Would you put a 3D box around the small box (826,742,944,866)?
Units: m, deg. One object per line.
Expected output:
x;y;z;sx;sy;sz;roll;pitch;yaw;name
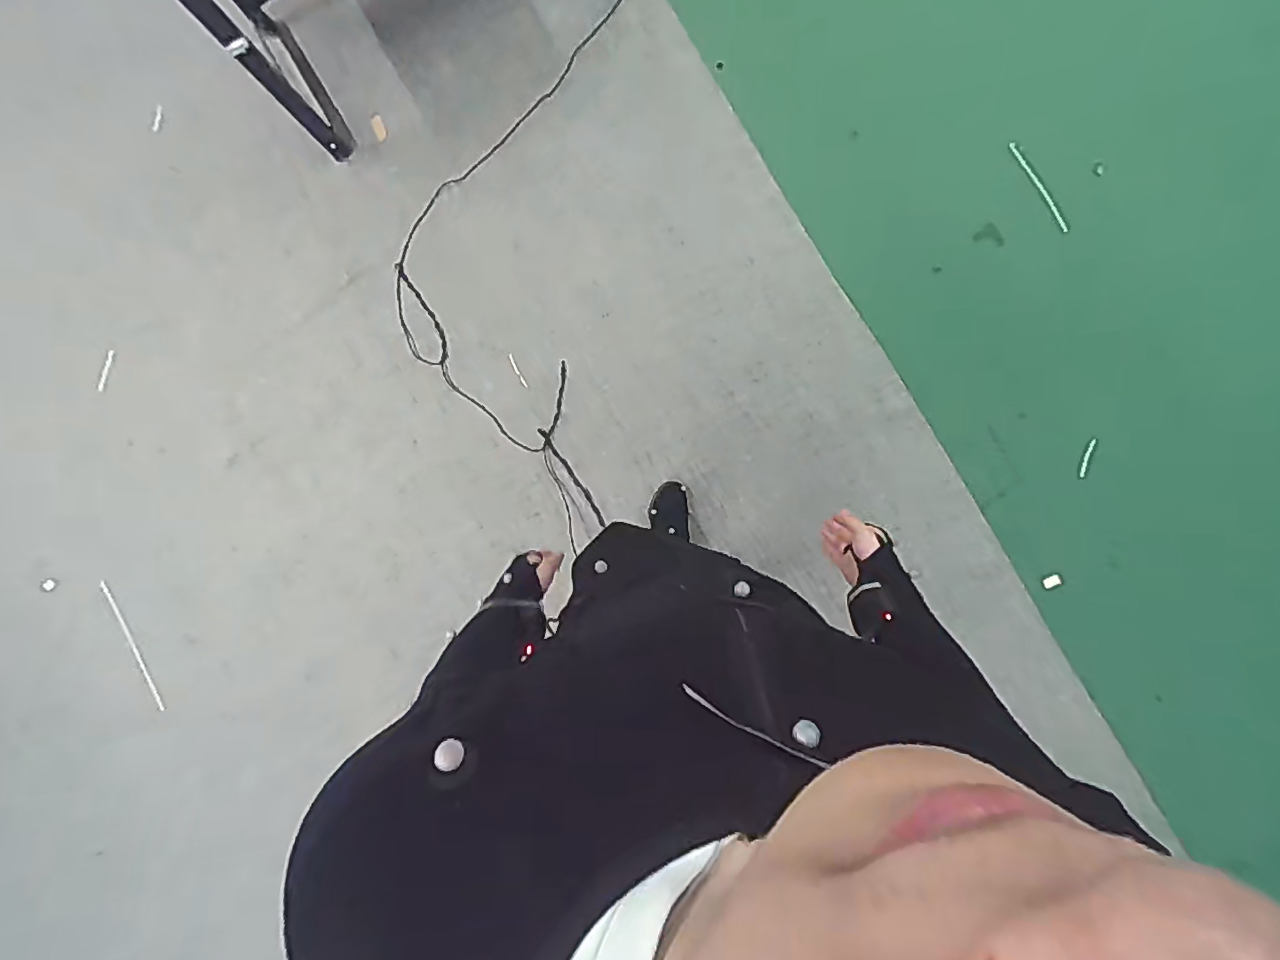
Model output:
0.579;0.766;1.307;0.168;0.176;0.179;-31;86;1;small box
